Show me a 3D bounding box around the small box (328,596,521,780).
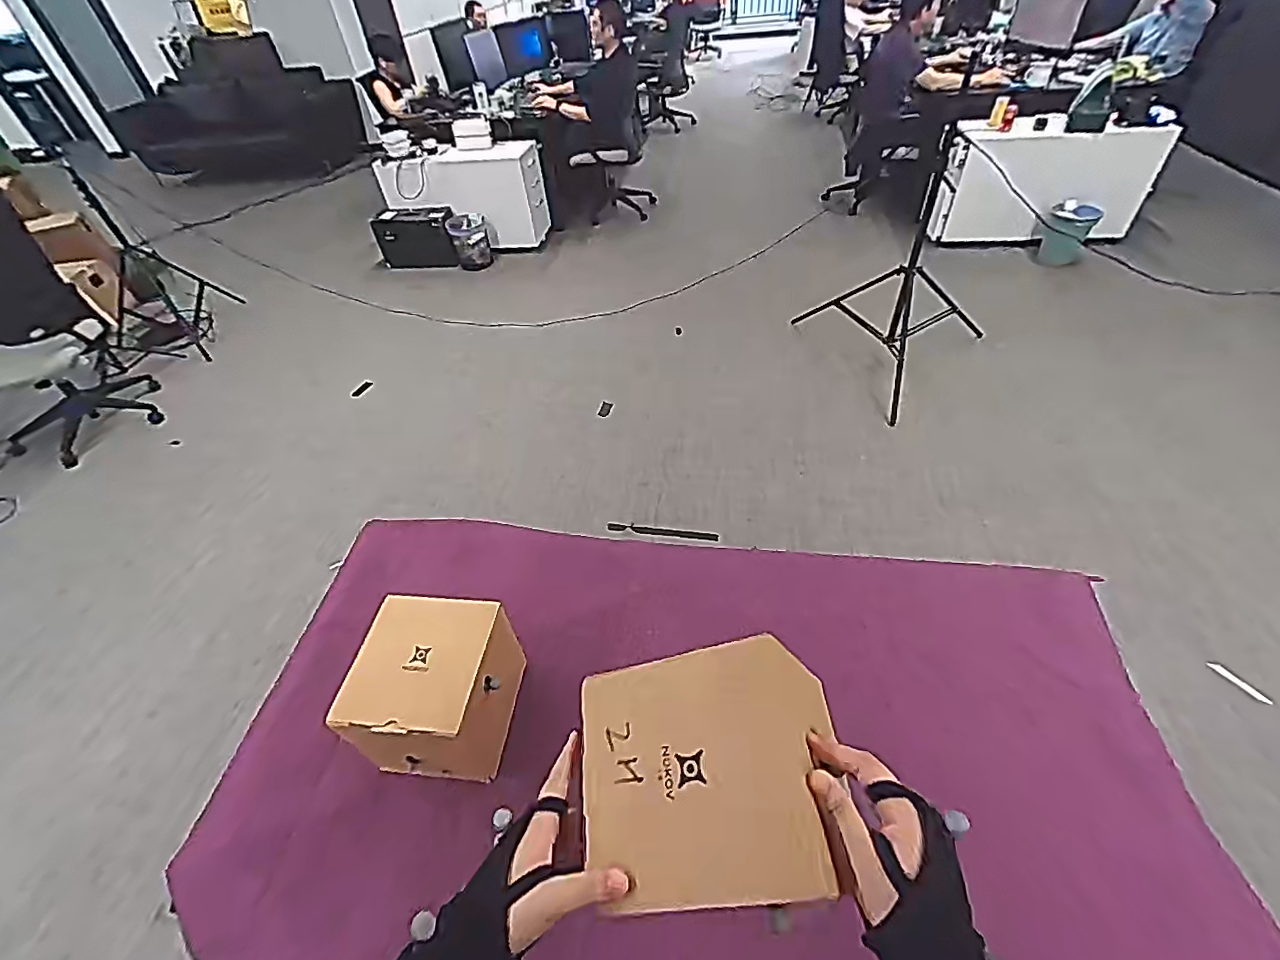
[{"bbox_3d":[-0.271,0.281,0.733,0.168,0.176,0.179,2,46,7],"label":"small box"}]
